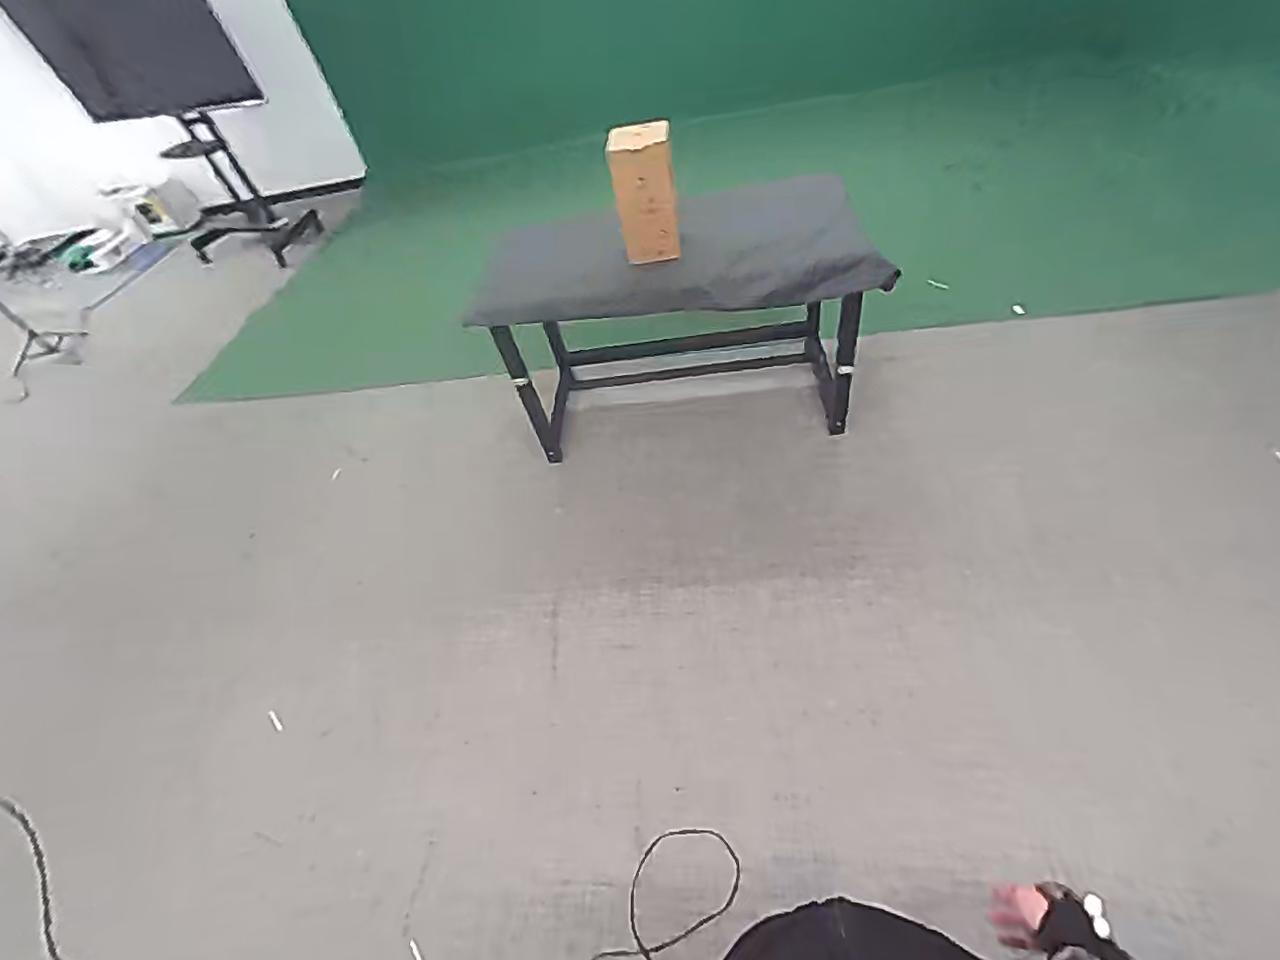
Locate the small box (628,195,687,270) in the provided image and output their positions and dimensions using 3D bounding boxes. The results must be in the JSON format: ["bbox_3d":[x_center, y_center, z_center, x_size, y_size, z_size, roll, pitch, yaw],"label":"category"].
[{"bbox_3d":[0.060,-0.782,1.719,0.168,0.176,0.179,-4,47,8],"label":"small box"}]

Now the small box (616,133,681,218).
[{"bbox_3d":[0.031,-0.894,1.602,0.168,0.176,0.179,-3,50,9],"label":"small box"}]
